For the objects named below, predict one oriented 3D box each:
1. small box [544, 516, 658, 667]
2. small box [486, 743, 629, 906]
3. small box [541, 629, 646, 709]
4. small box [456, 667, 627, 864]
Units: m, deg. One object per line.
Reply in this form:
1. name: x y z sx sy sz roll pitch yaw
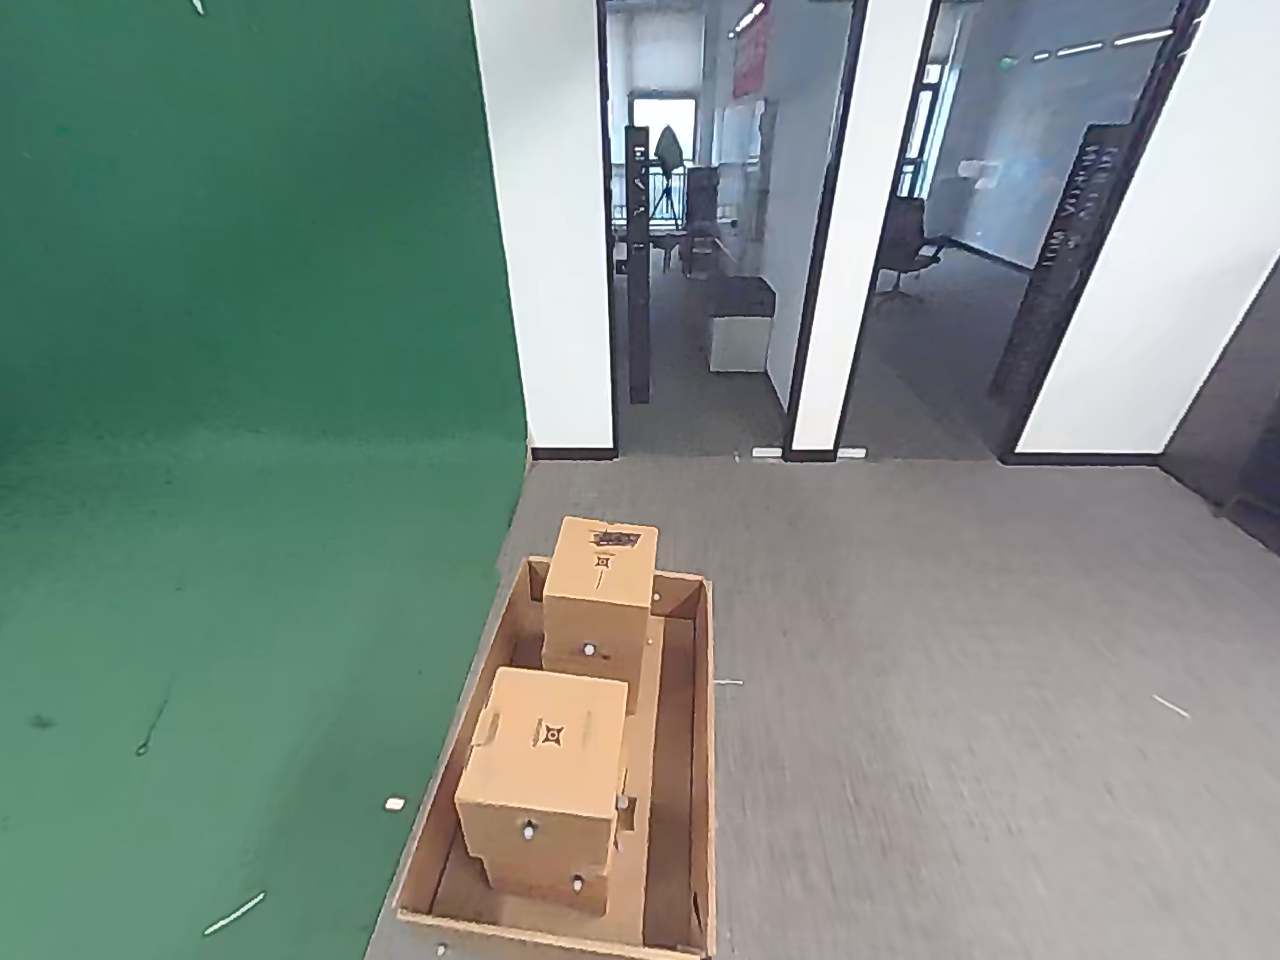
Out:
1. small box: -0.065 0.190 0.926 0.168 0.176 0.179 7 40 1
2. small box: -0.120 0.495 0.800 0.179 0.176 0.168 9 37 4
3. small box: -0.081 0.315 1.032 0.179 0.176 0.168 7 39 2
4. small box: -0.117 0.369 0.698 0.179 0.176 0.168 7 39 0
